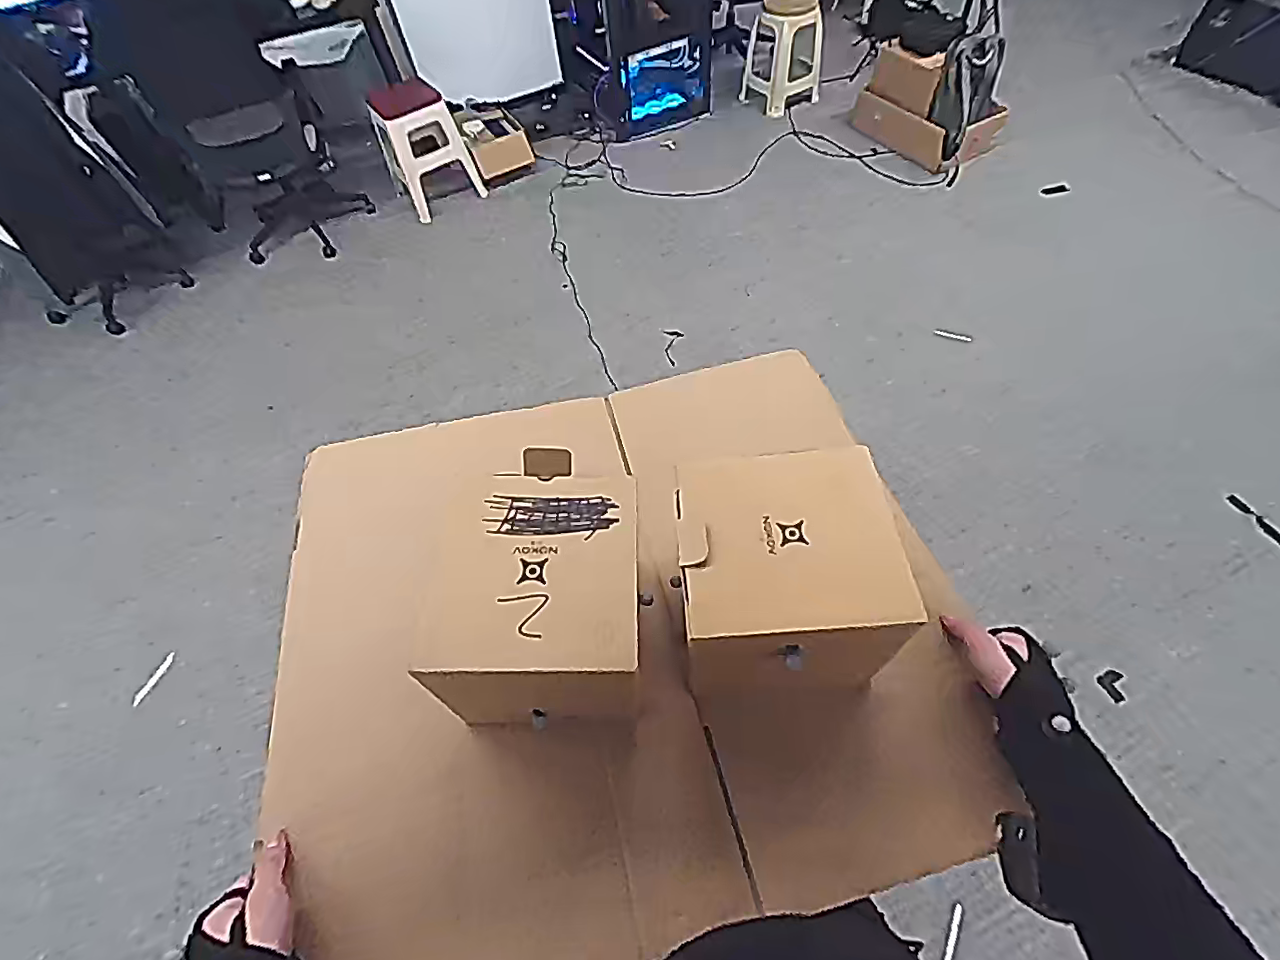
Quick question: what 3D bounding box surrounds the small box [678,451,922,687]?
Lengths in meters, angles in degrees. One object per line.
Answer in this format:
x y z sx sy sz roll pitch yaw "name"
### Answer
0.132 0.092 0.519 0.179 0.176 0.168 -6 56 4 "small box"
